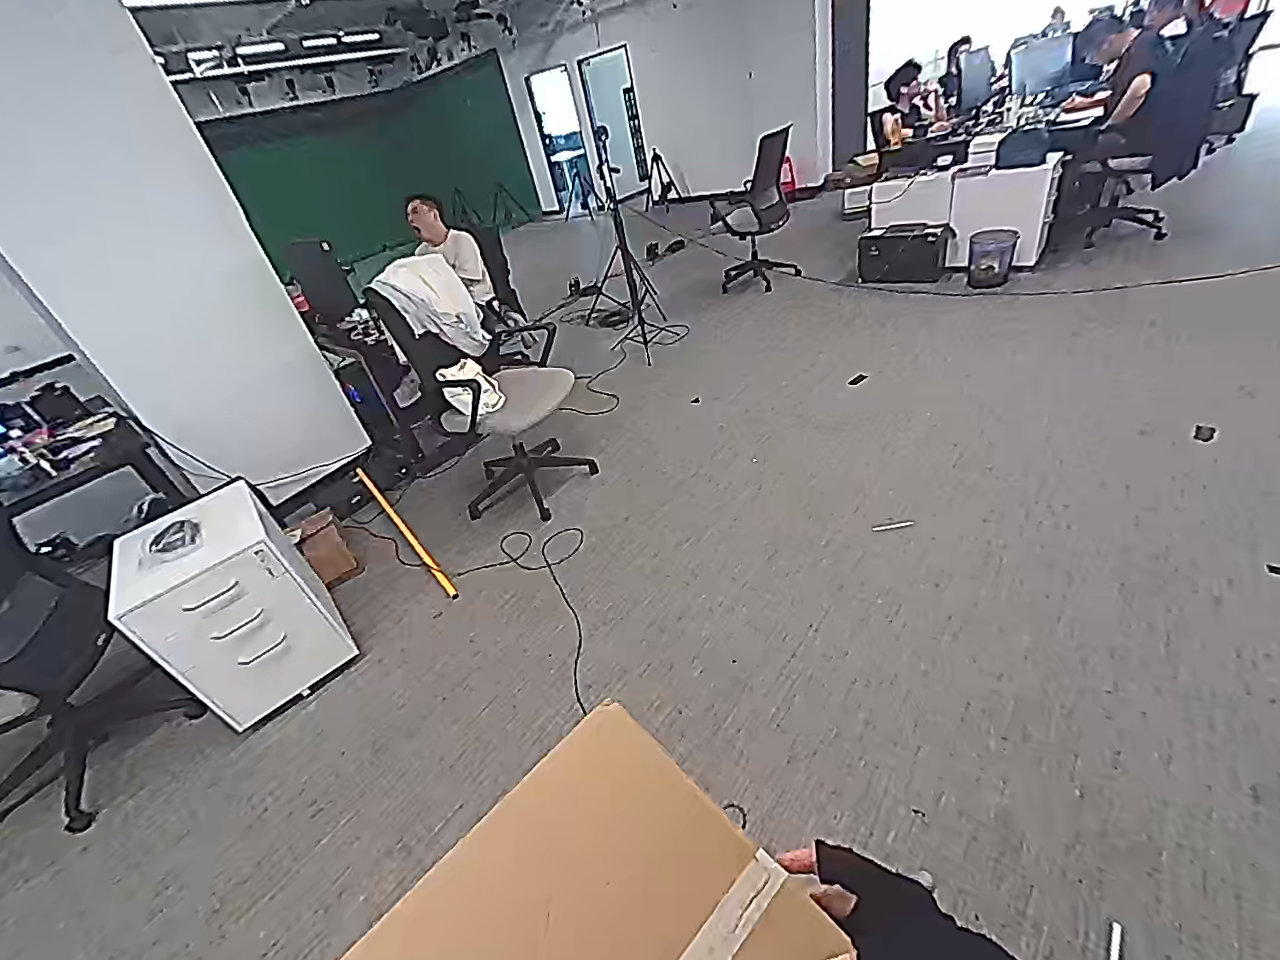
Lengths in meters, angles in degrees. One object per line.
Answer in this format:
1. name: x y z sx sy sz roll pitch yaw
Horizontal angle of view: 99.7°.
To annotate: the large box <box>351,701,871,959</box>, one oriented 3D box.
1. large box: -0.043 0.459 0.375 0.408 0.320 0.320 -38 55 -26
